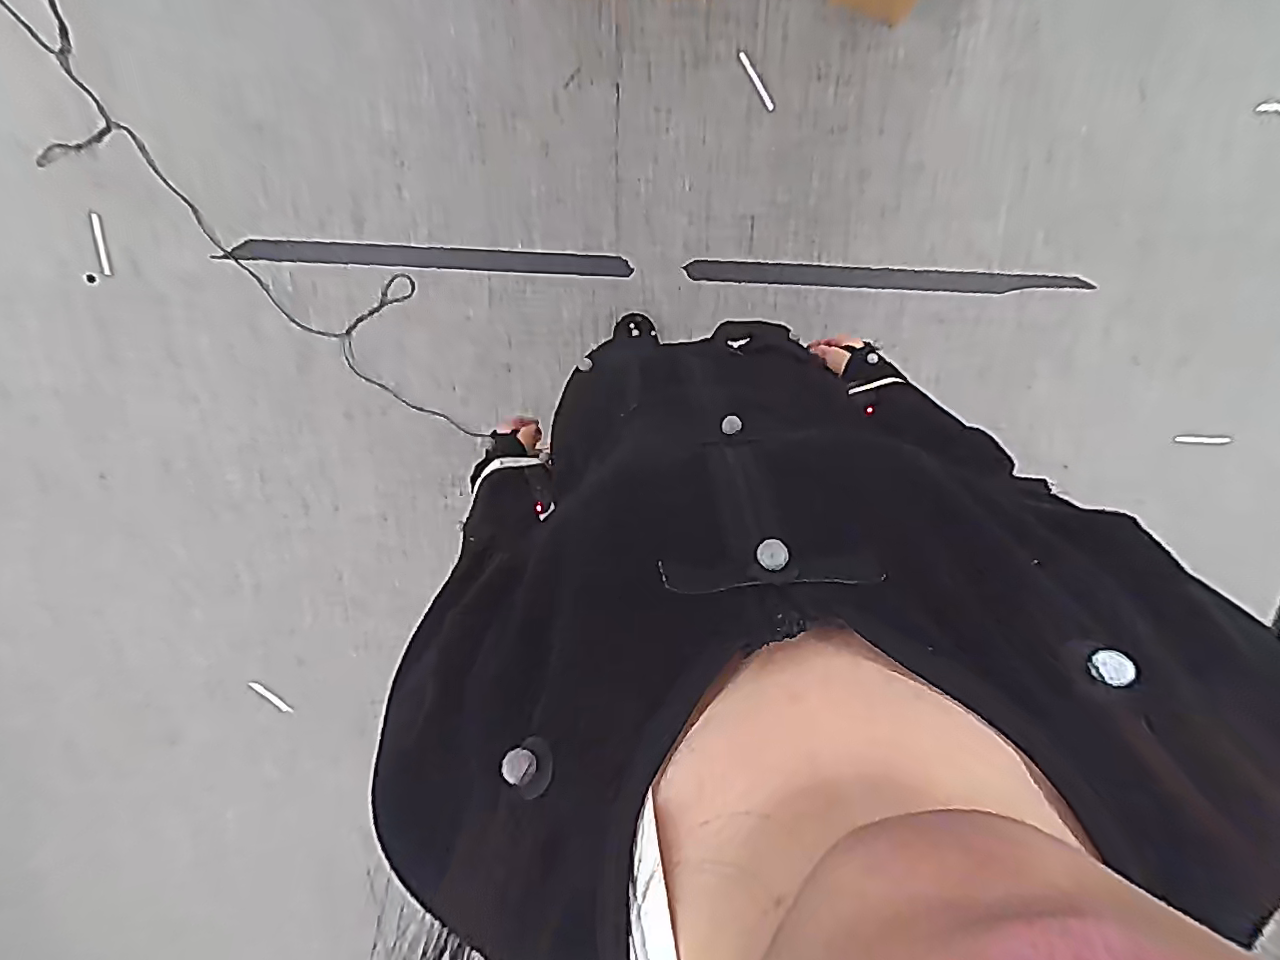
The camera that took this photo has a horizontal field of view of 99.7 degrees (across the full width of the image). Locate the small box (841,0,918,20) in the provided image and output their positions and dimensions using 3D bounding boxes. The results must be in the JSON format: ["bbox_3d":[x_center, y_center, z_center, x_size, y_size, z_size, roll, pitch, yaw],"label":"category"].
[{"bbox_3d":[0.531,-1.106,1.118,0.179,0.176,0.168,18,106,-5],"label":"small box"}]
